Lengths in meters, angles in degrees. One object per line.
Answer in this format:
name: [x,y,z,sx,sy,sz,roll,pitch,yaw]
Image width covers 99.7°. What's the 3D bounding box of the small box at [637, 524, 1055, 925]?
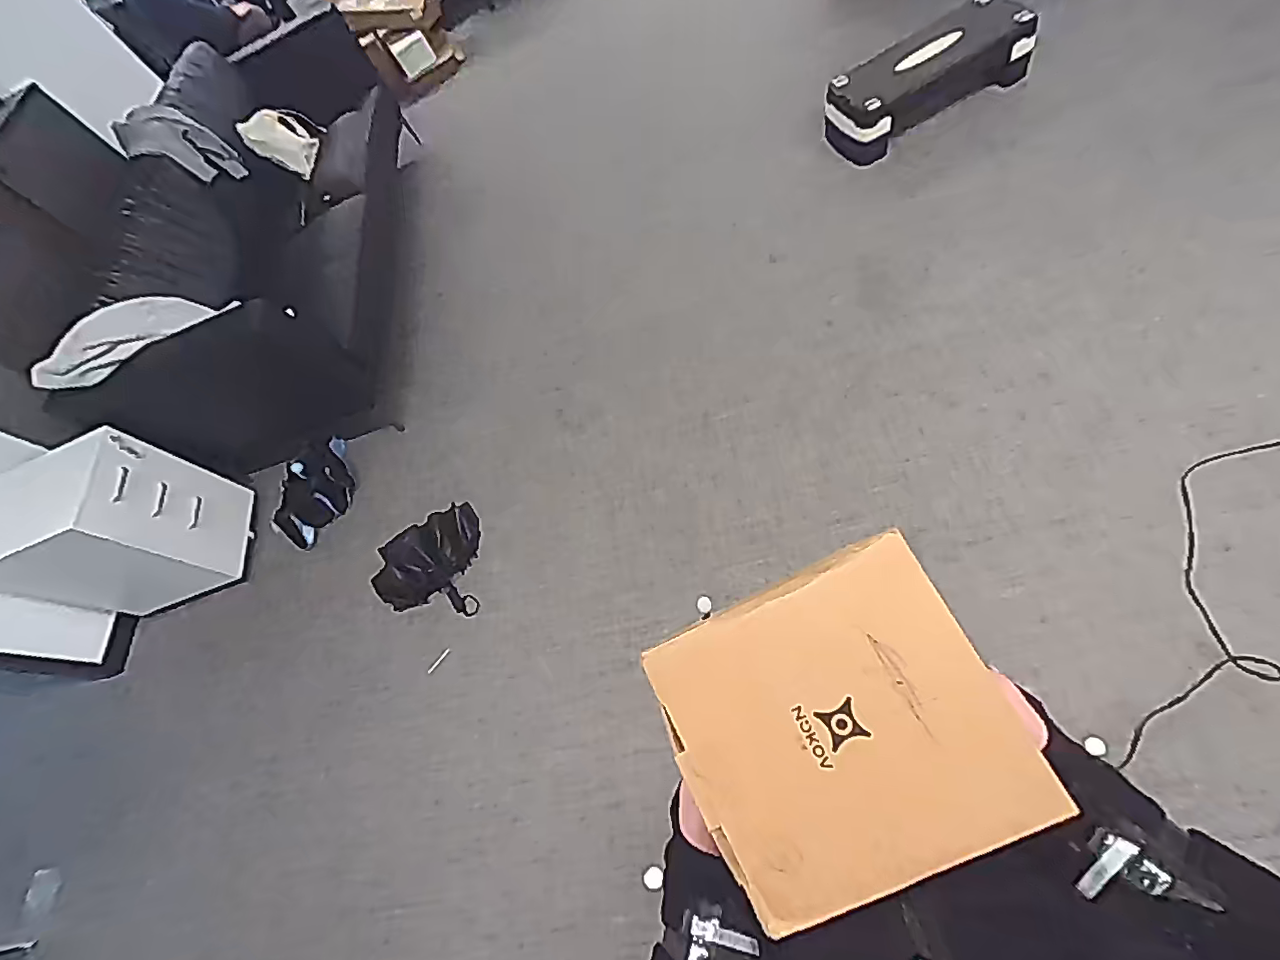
small box: [0.123,0.149,0.384,0.179,0.176,0.168,-29,76,5]
